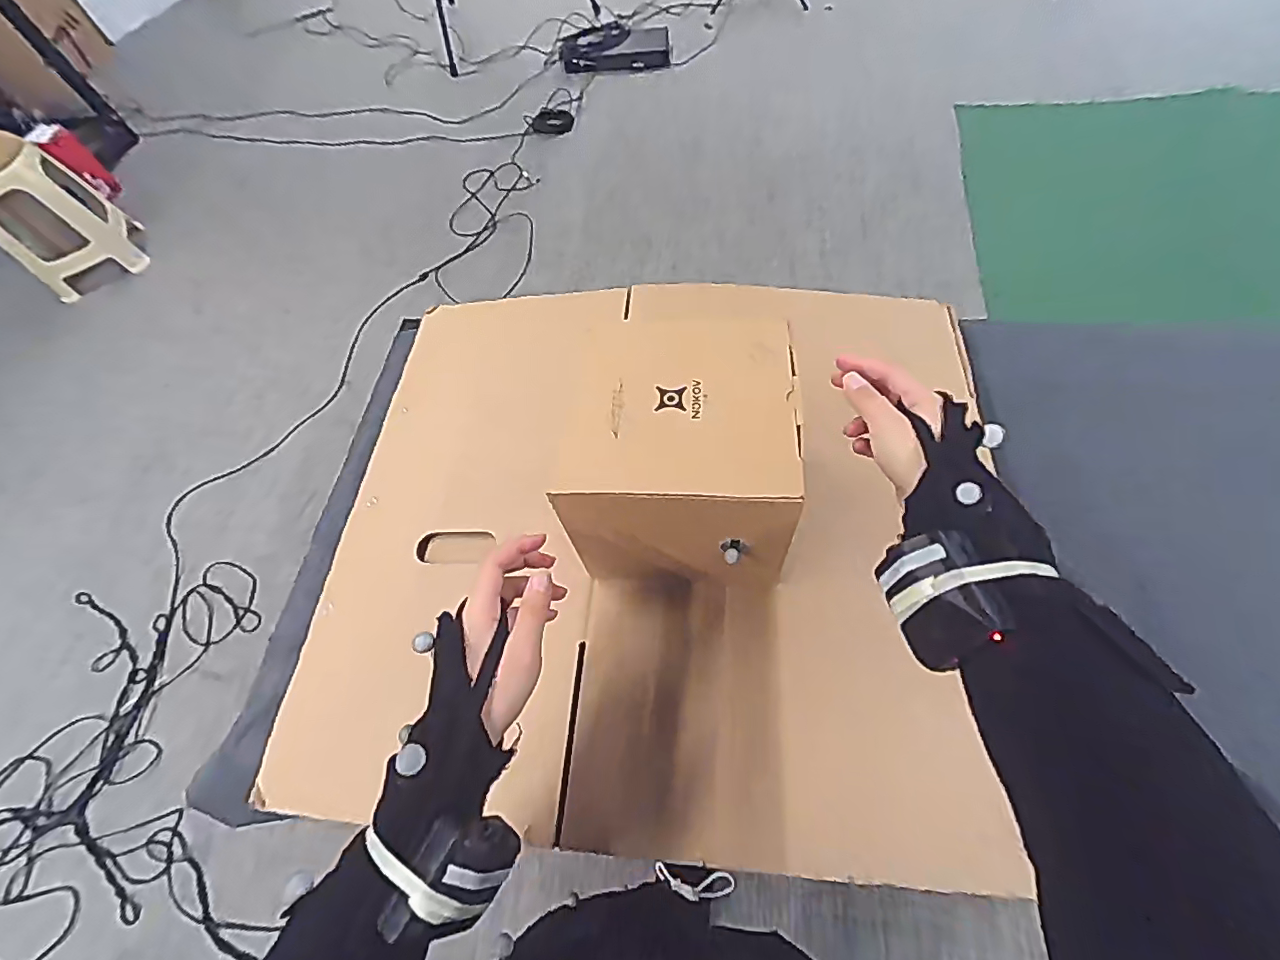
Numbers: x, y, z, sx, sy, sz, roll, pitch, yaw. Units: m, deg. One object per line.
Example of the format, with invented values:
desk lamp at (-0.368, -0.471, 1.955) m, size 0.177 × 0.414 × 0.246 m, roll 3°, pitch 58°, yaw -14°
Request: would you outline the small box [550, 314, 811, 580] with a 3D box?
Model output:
small box at (0.037, -0.020, 0.465) m, size 0.179 × 0.176 × 0.168 m, roll 0°, pitch 59°, yaw 7°
